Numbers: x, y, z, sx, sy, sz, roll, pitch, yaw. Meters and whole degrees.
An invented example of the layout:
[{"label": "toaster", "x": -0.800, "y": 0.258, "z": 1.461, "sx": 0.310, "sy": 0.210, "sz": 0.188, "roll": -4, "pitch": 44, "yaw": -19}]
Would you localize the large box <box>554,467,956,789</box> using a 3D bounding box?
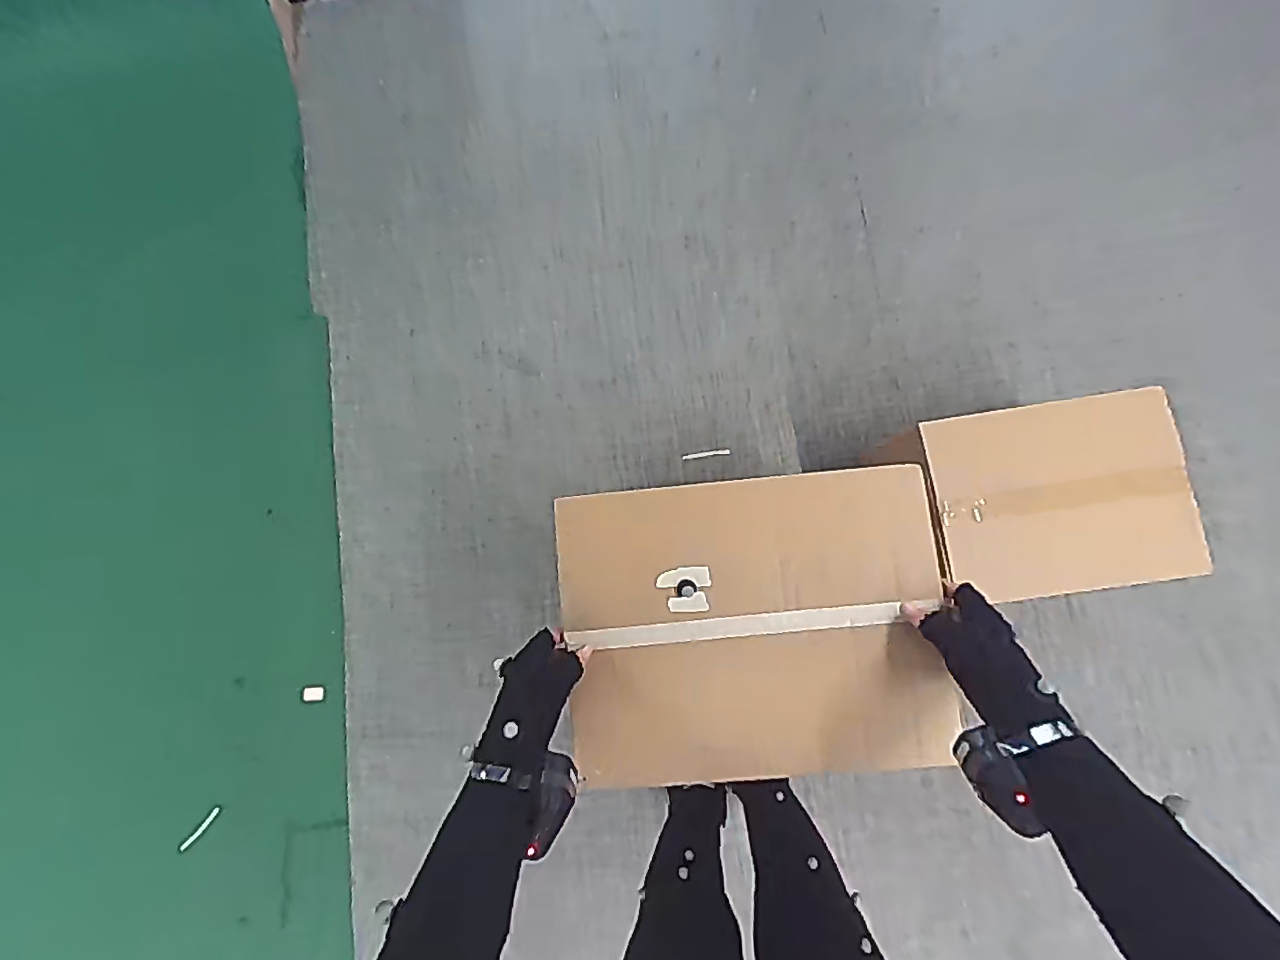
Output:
[{"label": "large box", "x": 0.126, "y": 0.172, "z": 0.728, "sx": 0.408, "sy": 0.320, "sz": 0.320, "roll": -6, "pitch": 83, "yaw": 4}]
